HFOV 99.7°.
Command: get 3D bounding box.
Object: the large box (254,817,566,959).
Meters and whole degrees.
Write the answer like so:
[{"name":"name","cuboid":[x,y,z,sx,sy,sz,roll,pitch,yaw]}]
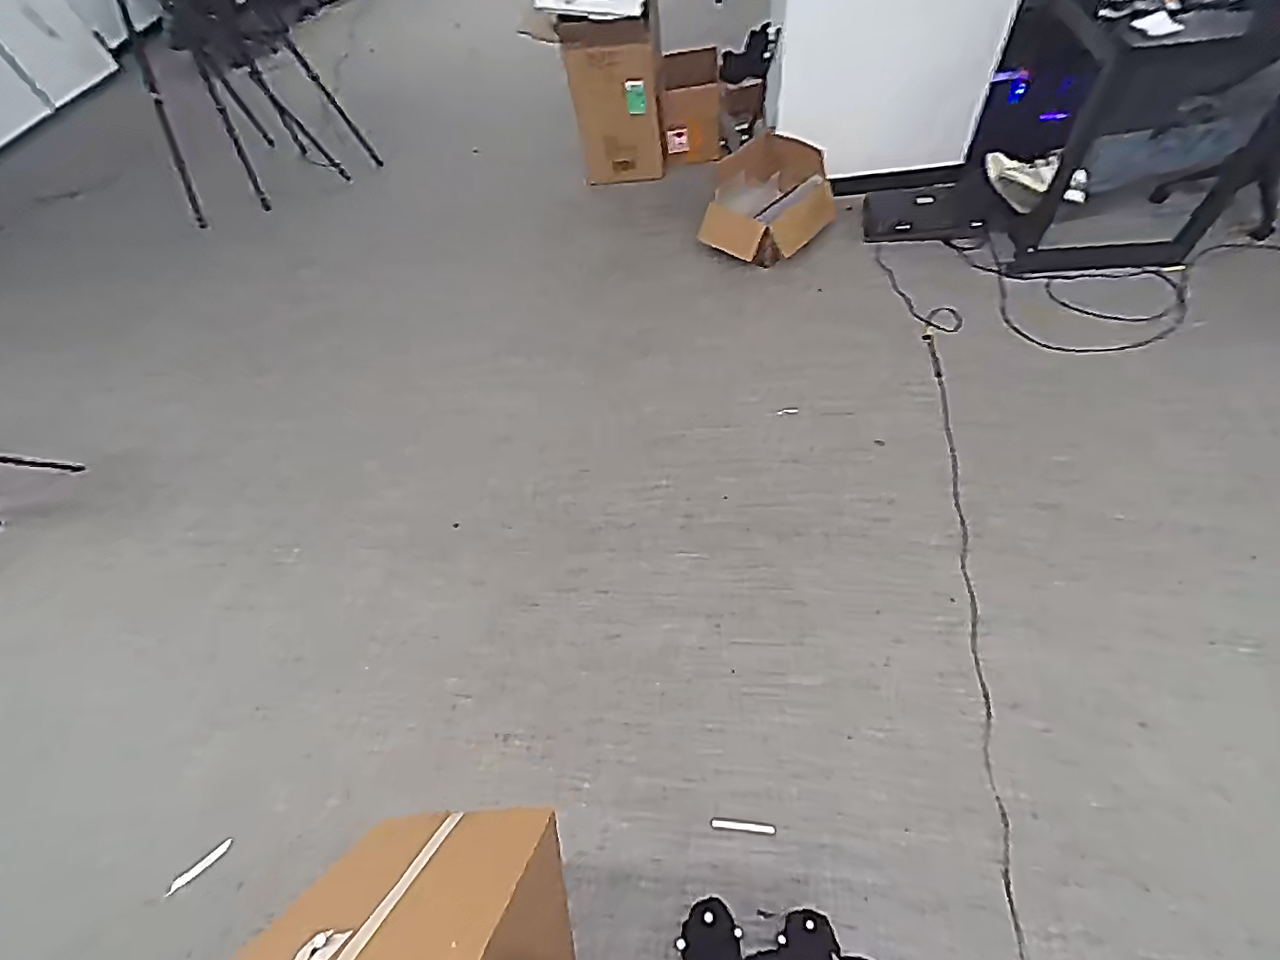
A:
[{"name":"large box","cuboid":[-0.294,0.708,0.684,0.320,0.408,0.320,-10,89,7]}]
